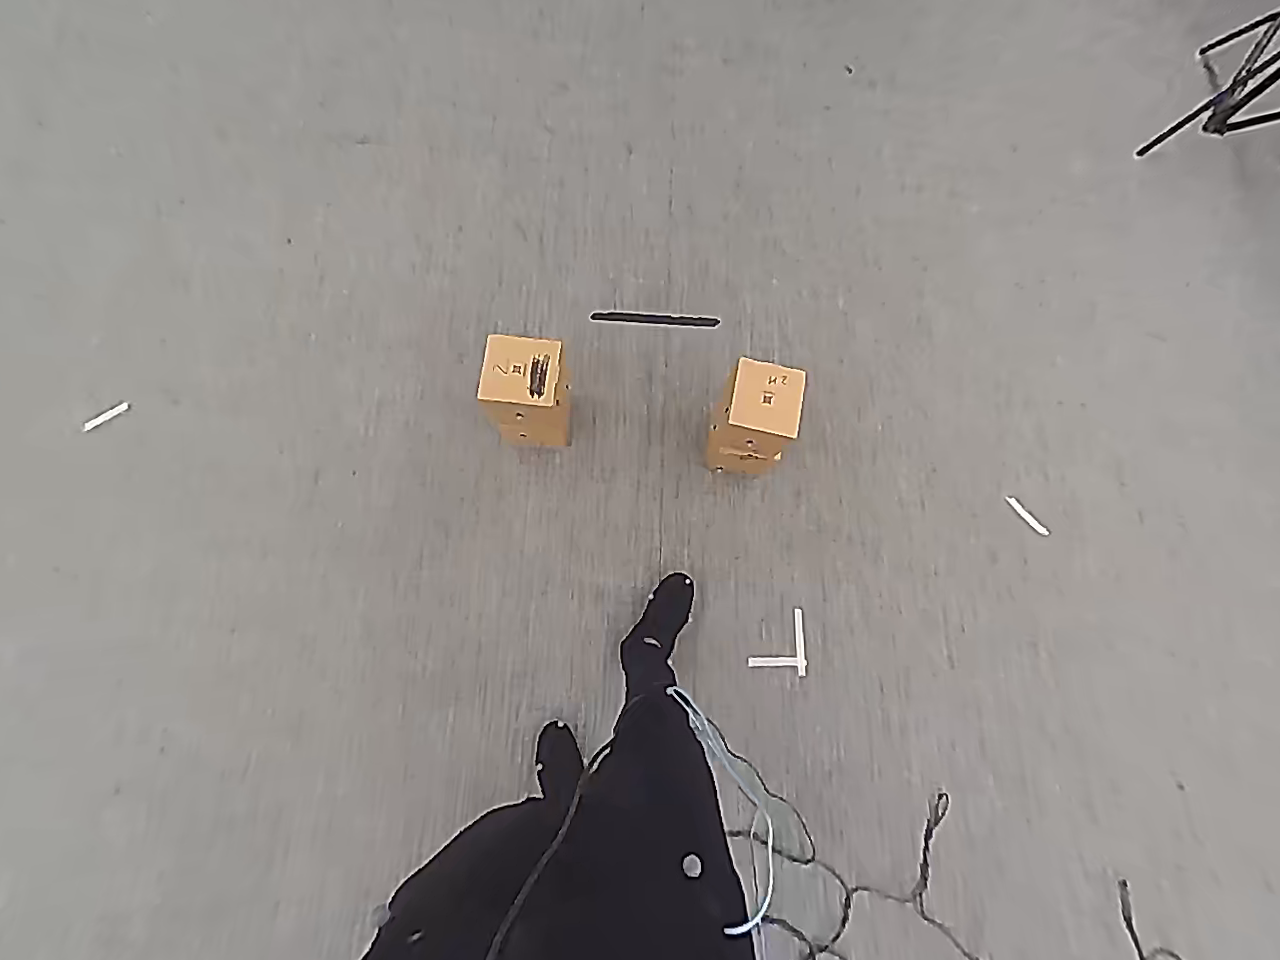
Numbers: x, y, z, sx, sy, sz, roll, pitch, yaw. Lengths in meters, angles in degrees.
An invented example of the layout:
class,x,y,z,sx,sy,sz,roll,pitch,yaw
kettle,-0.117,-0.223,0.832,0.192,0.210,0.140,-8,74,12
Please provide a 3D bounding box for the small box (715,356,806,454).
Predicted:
class,x,y,z,sx,sy,sz,roll,pitch,yaw
small box,0.289,-0.177,1.336,0.168,0.176,0.179,13,76,-2

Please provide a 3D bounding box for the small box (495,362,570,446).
class,x,y,z,sx,sy,sz,roll,pitch,yaw
small box,-0.285,-0.199,1.473,0.168,0.176,0.179,5,76,-2

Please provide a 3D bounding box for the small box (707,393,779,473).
class,x,y,z,sx,sy,sz,roll,pitch,yaw
small box,0.284,-0.127,1.494,0.168,0.176,0.179,7,76,-3
